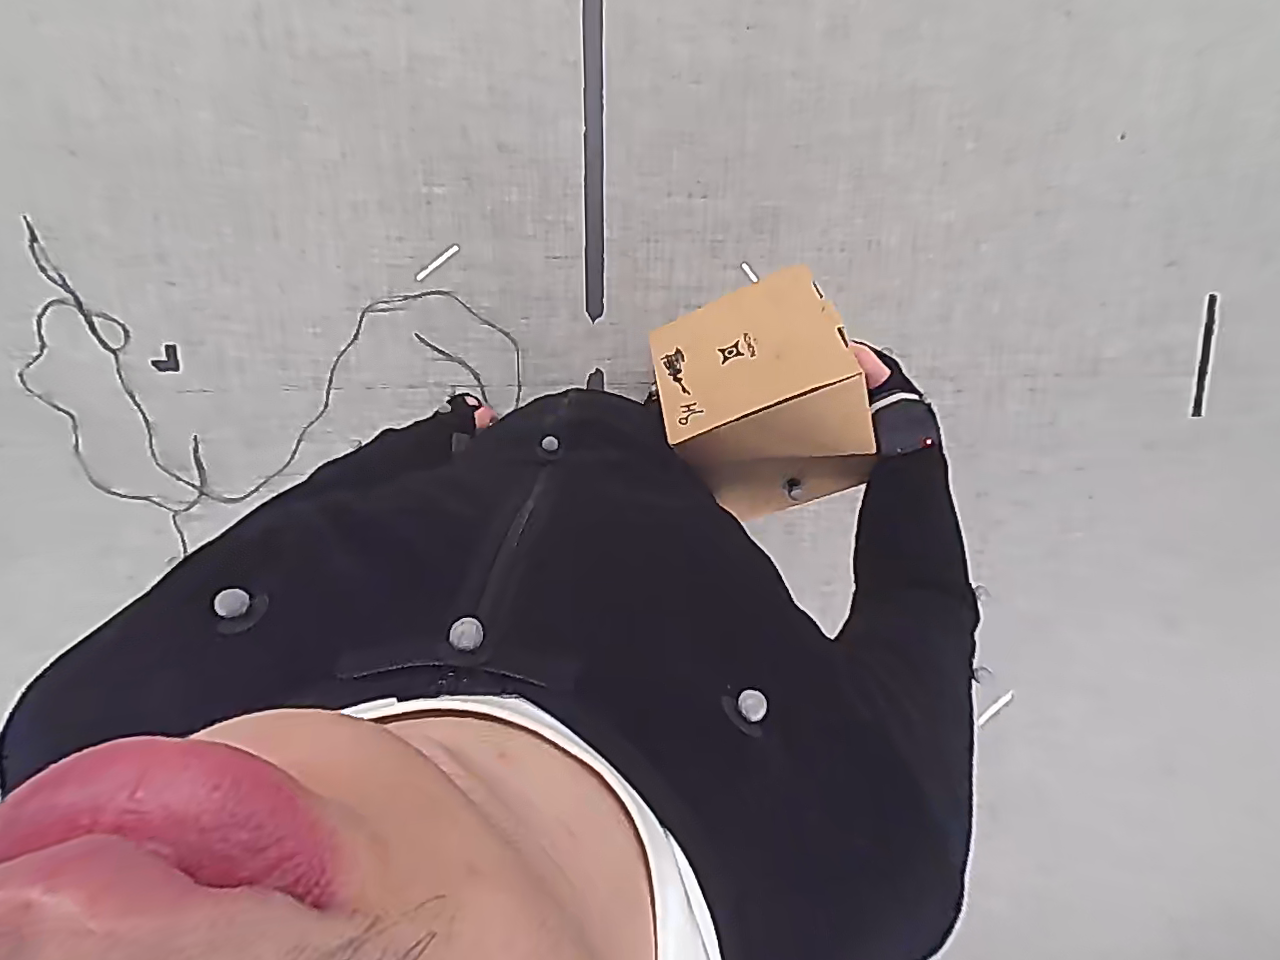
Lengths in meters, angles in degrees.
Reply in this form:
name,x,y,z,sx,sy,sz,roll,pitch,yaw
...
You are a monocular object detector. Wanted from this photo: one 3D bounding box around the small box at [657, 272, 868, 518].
name,x,y,z,sx,sy,sz,roll,pitch,yaw
small box,0.137,-0.084,0.594,0.179,0.168,0.176,-20,140,15
